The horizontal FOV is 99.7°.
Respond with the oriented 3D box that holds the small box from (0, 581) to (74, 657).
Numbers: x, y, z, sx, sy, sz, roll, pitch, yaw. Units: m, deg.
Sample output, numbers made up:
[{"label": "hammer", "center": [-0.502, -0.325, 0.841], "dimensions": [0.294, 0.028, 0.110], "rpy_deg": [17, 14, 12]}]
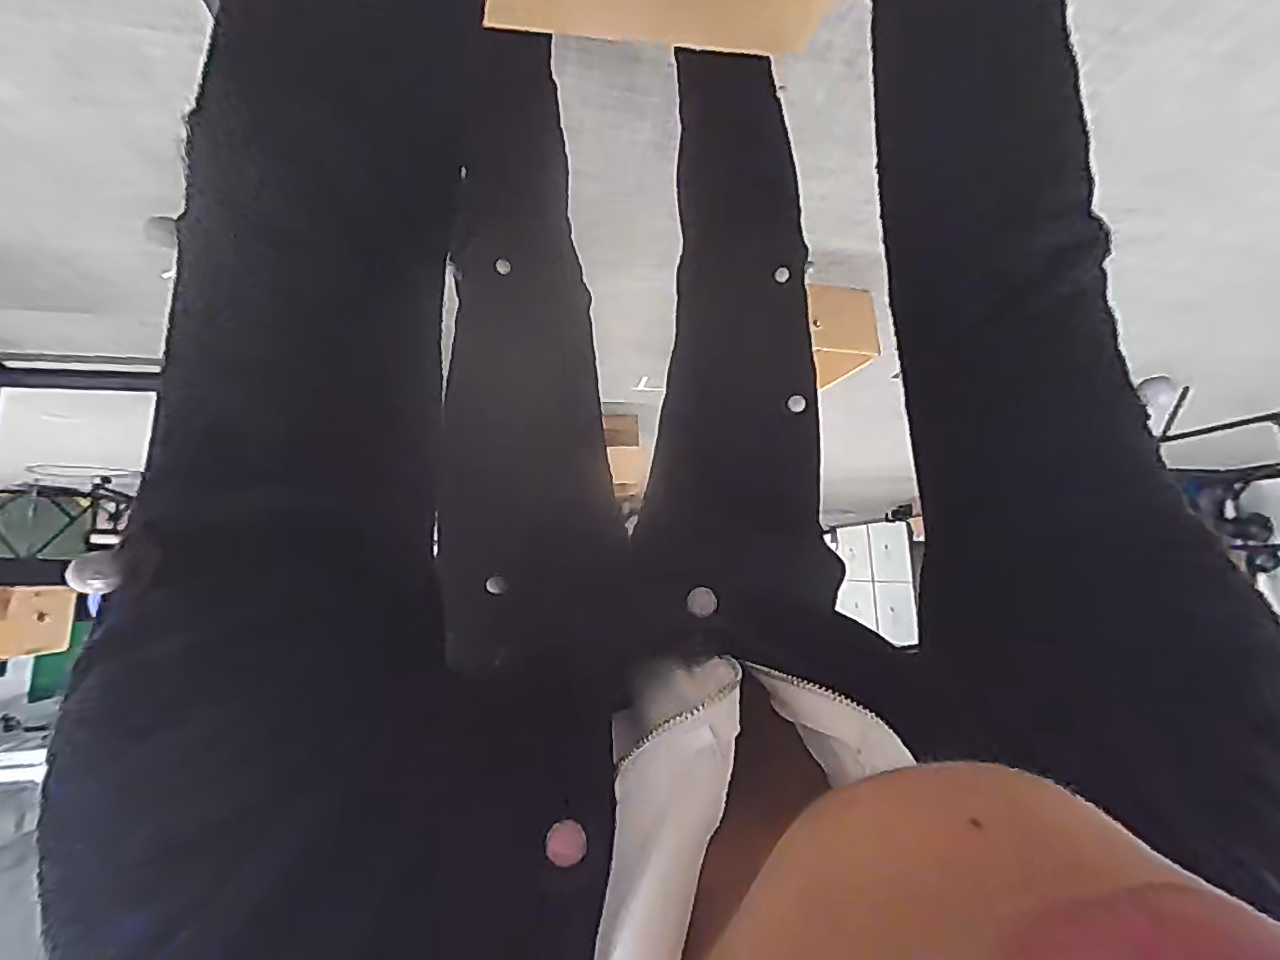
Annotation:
[{"label": "small box", "center": [-1.552, 0.337, 1.324], "dimensions": [0.179, 0.176, 0.168], "rpy_deg": [-1, 170, -5]}]
